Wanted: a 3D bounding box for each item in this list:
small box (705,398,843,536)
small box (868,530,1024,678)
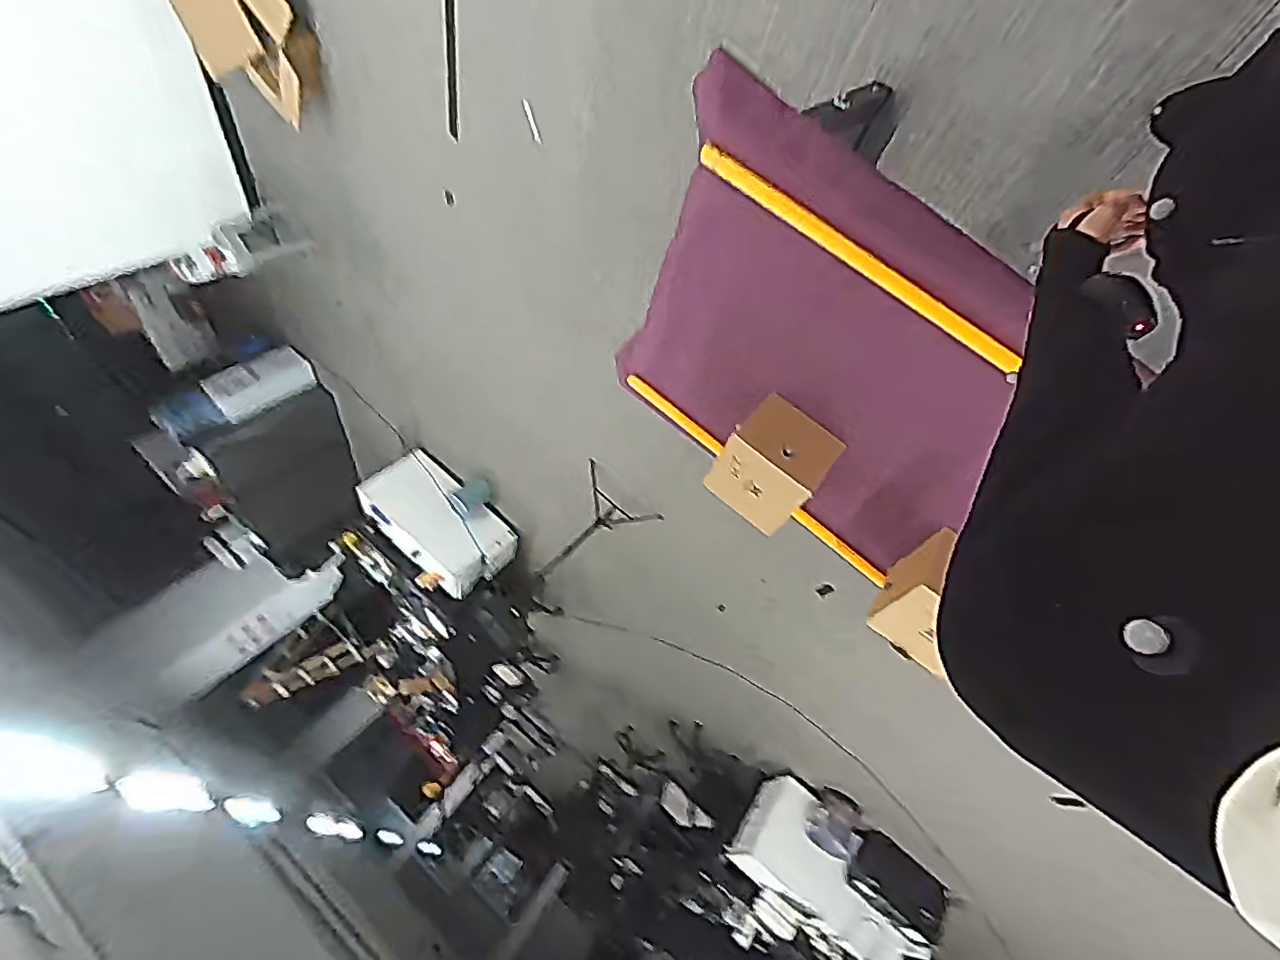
[{"bbox_3d":[0.265,-0.030,1.064,0.179,0.176,0.168,40,143,11],"label":"small box"},{"bbox_3d":[0.567,0.227,1.000,0.168,0.176,0.179,38,143,12],"label":"small box"}]
